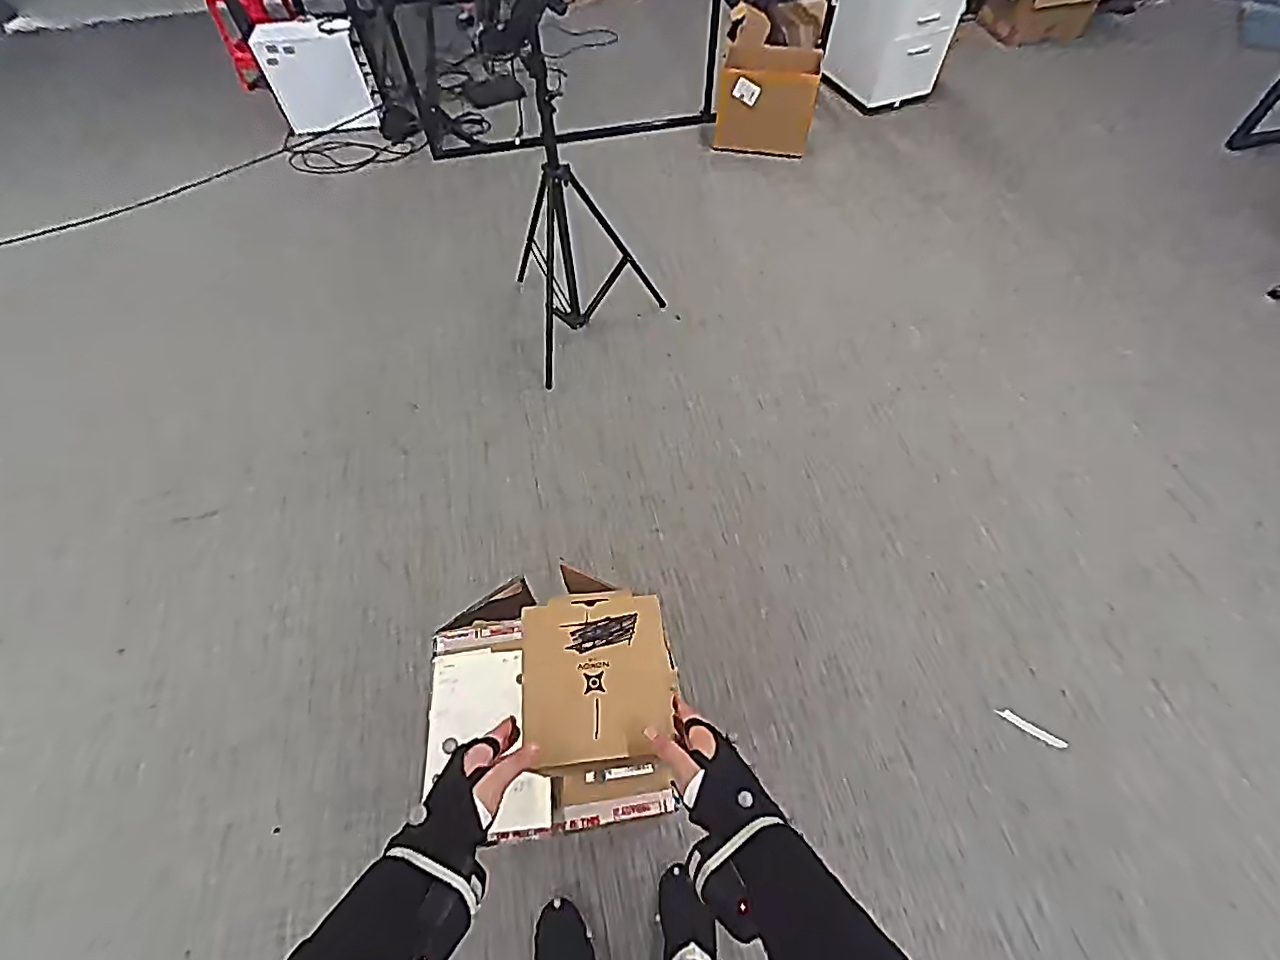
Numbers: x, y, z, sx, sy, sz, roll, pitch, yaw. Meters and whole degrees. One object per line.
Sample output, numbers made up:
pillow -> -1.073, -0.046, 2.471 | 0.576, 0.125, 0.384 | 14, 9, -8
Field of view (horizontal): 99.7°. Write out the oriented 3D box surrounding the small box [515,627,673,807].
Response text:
small box -> -0.057, 0.295, 0.665 | 0.168, 0.176, 0.179 | -4, 60, -4

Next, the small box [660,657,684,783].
small box -> -0.041, 0.375, 0.810 | 0.179, 0.176, 0.168 | -8, 59, -6
